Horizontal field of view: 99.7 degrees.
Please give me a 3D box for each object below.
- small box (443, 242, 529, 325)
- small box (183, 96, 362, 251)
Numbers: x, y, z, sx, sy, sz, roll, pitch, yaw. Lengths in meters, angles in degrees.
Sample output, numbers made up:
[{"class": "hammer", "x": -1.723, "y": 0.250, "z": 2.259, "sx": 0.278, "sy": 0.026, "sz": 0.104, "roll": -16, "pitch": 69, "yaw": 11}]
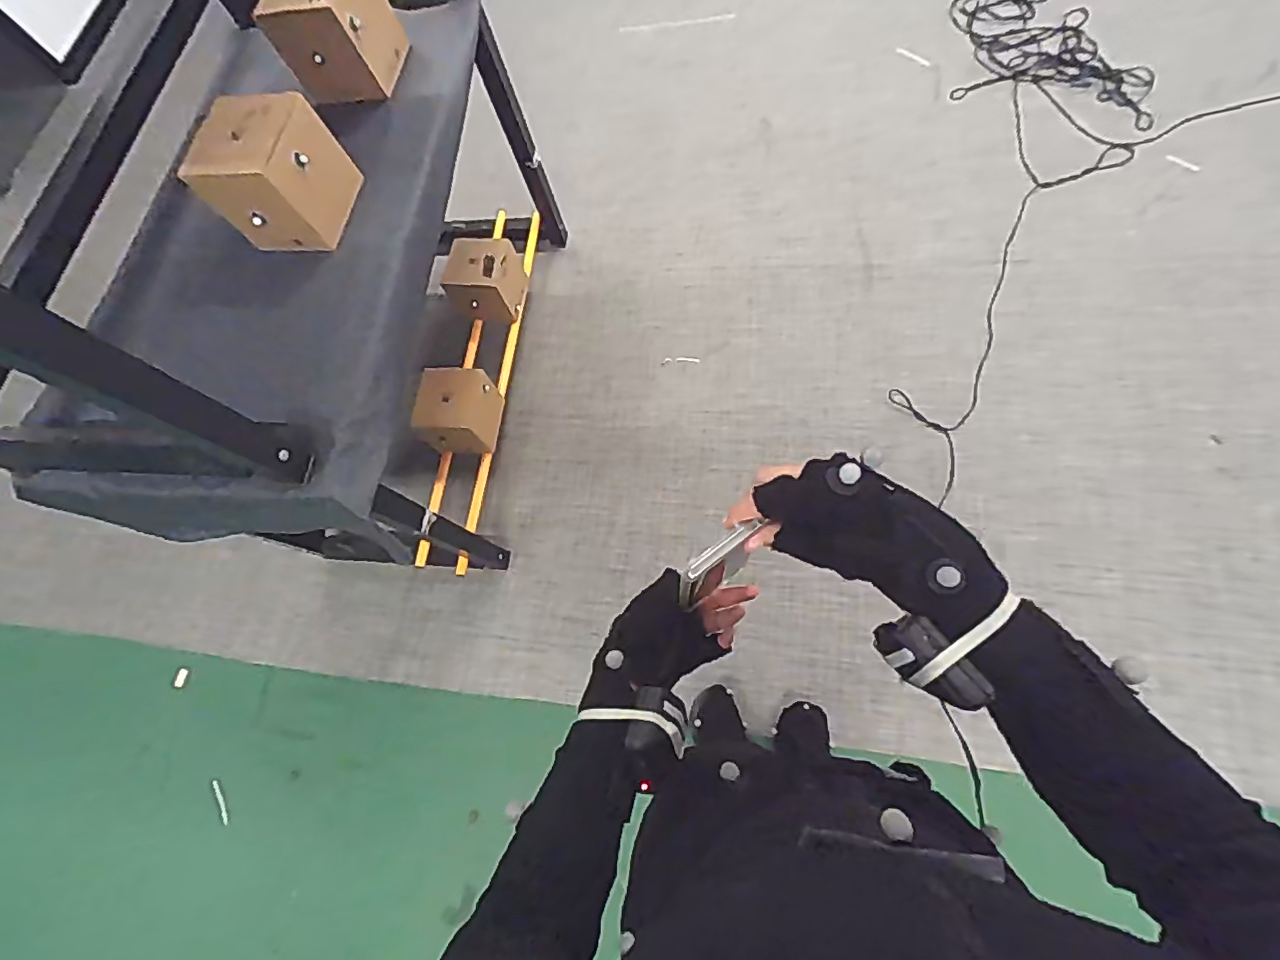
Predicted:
[{"class": "small box", "x": -0.448, "y": -0.578, "z": 1.606, "sx": 0.179, "sy": 0.176, "sz": 0.168, "roll": 6, "pitch": 71, "yaw": 12}, {"class": "small box", "x": -0.624, "y": -0.524, "z": 0.944, "sx": 0.168, "sy": 0.176, "sz": 0.179, "roll": 5, "pitch": 71, "yaw": 12}]
